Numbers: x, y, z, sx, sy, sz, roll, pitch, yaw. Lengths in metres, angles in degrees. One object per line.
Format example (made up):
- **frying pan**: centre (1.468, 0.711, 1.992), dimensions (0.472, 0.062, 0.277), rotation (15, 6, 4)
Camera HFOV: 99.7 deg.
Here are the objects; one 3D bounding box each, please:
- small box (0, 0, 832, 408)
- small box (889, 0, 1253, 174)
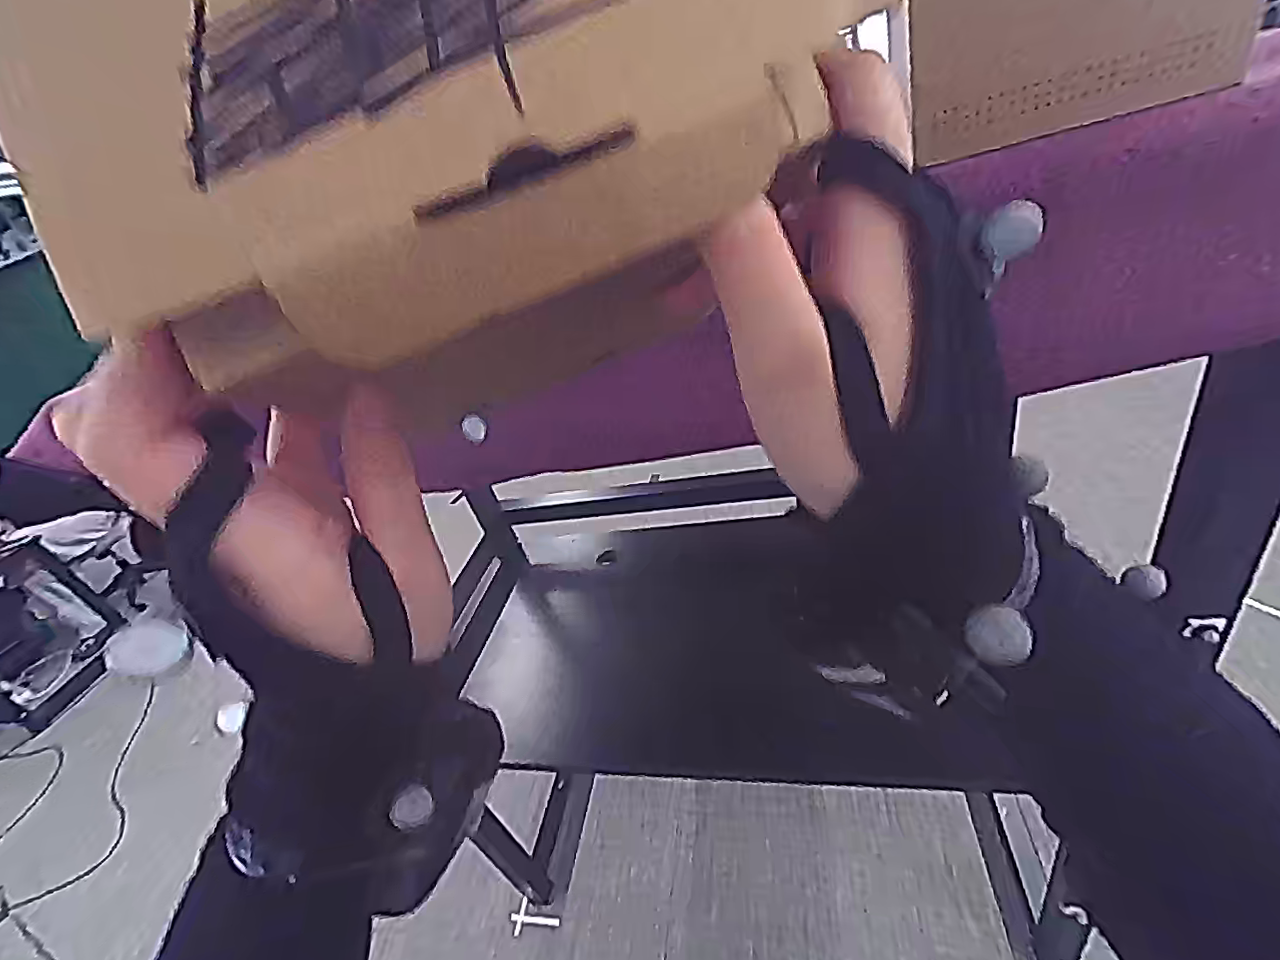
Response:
- **small box**: centre (-0.067, -0.136, 0.198), dimensions (0.168, 0.179, 0.176), rotation (-23, 0, -6)
- **small box**: centre (0.267, -0.329, 0.361), dimensions (0.179, 0.176, 0.168), rotation (-5, 32, 23)
